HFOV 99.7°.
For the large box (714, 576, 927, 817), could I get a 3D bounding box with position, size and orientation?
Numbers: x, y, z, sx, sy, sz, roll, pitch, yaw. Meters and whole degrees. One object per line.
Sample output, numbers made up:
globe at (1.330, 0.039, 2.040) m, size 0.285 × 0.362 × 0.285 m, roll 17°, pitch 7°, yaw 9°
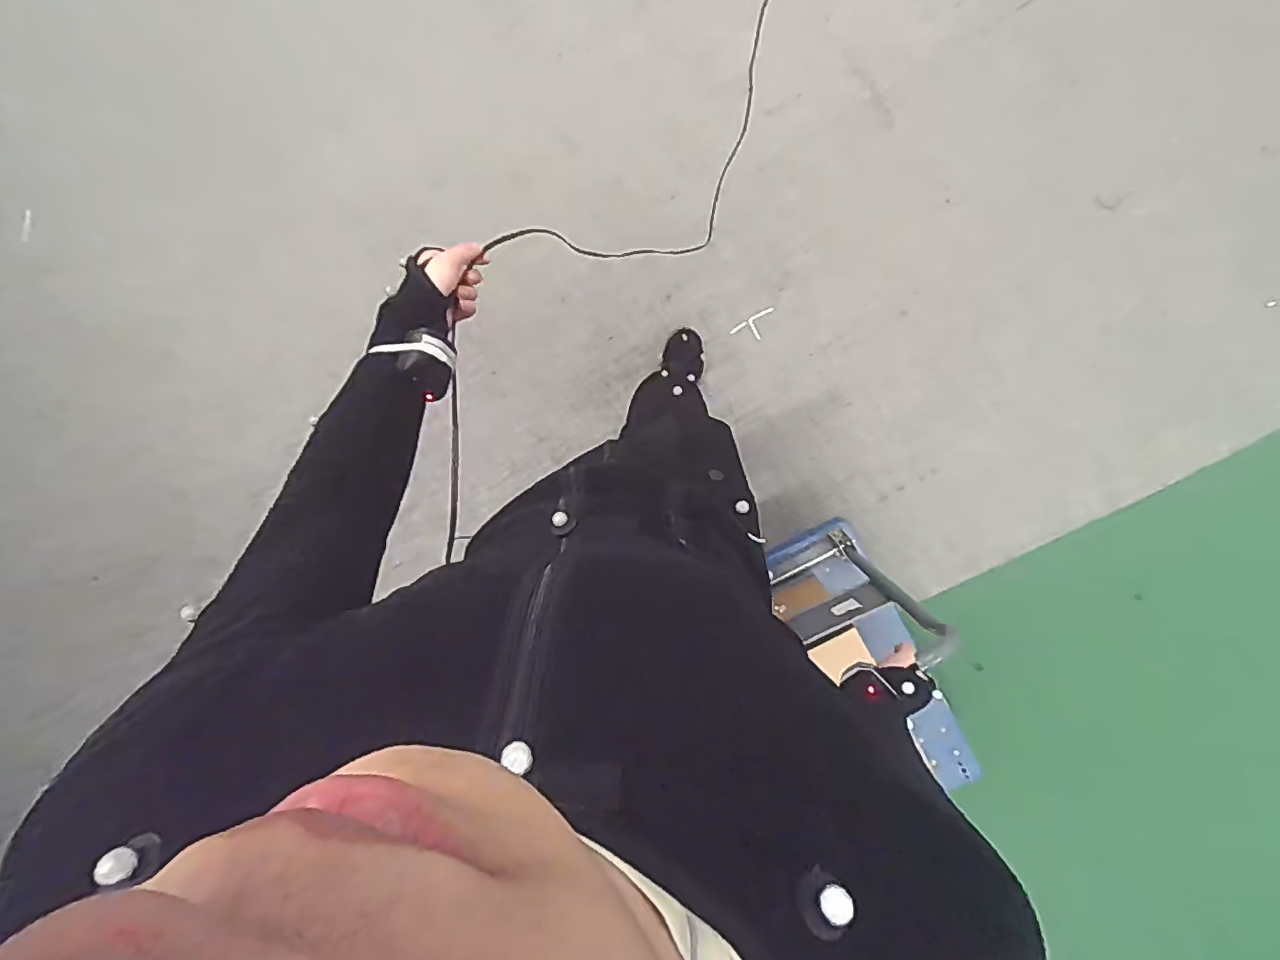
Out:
large box at (0.427, 0.522, 1.365) m, size 0.320 × 0.320 × 0.408 m, roll -29°, pitch 98°, yaw 8°
